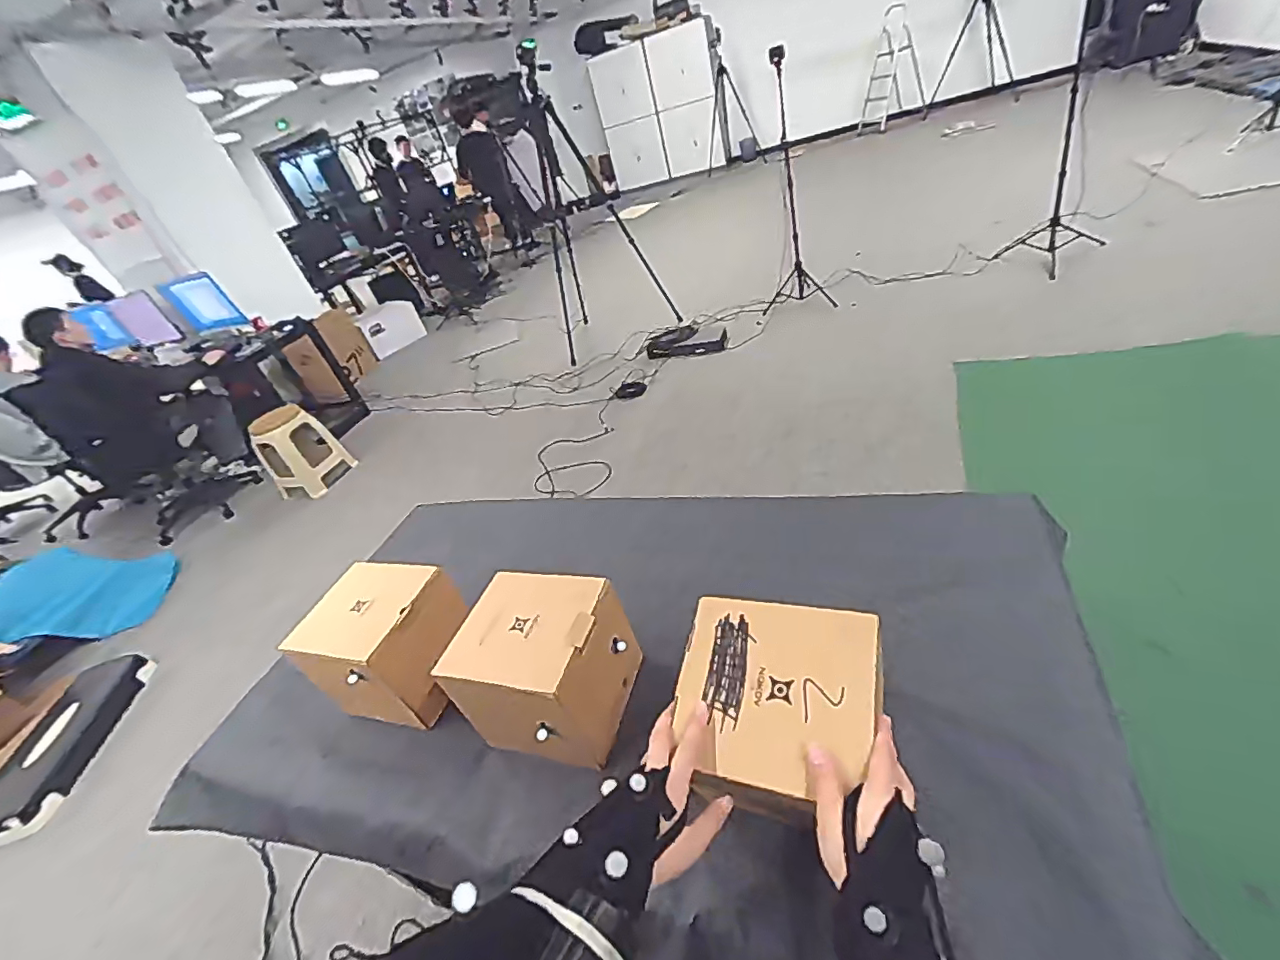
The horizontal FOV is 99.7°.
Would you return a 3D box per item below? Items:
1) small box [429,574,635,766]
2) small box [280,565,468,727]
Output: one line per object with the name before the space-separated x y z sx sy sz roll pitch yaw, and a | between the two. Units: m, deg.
small box | -0.123 0.242 0.701 0.179 0.176 0.168 -3 36 25
small box | -0.379 0.247 0.818 0.179 0.176 0.168 -2 37 23
